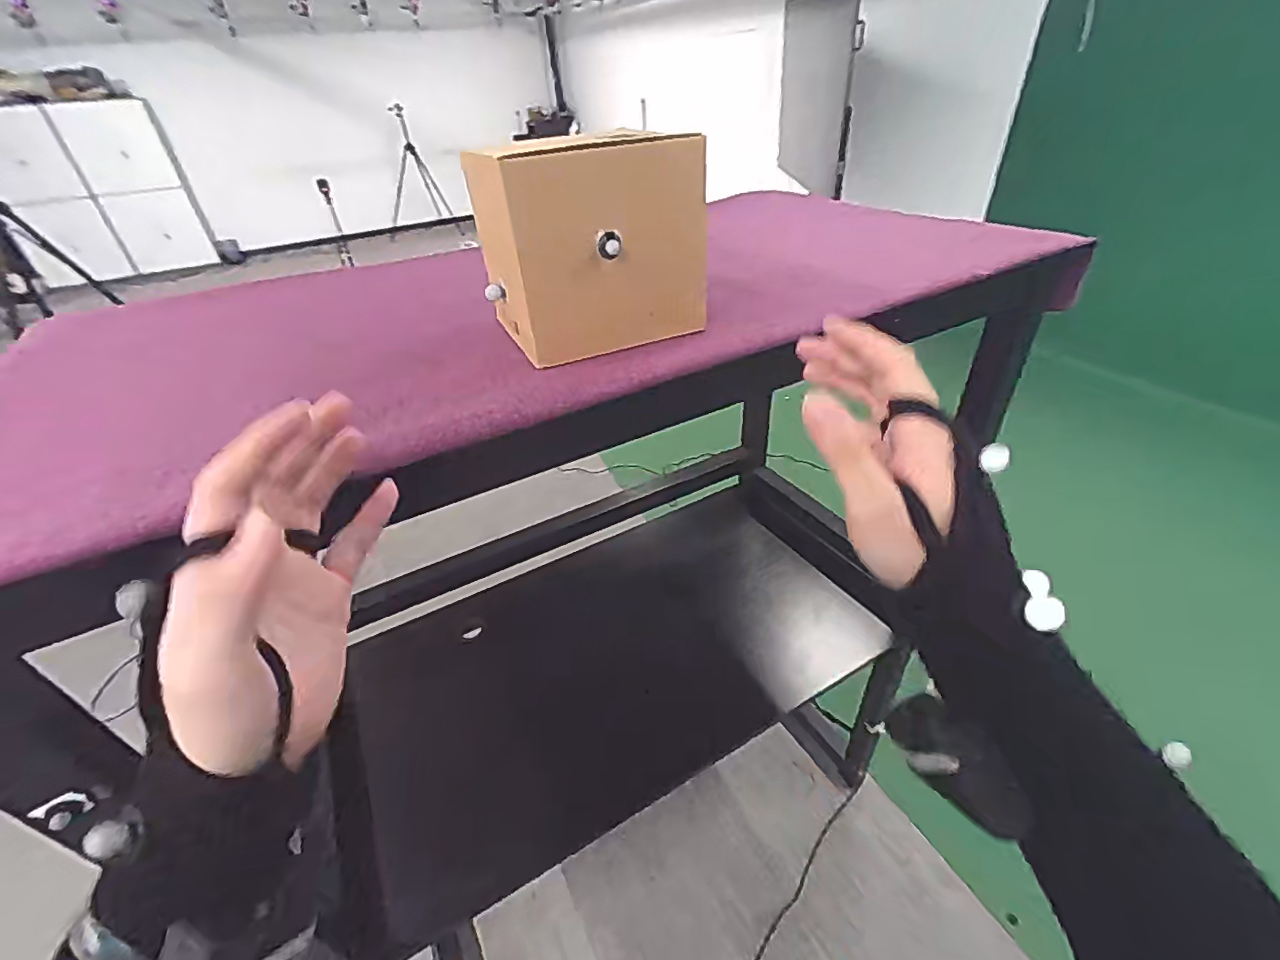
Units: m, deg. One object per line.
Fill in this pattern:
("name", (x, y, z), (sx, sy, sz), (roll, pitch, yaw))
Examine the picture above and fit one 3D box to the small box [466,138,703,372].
("small box", (-0.052, -0.226, 0.531), (0.179, 0.176, 0.168), (-19, 37, -16))
